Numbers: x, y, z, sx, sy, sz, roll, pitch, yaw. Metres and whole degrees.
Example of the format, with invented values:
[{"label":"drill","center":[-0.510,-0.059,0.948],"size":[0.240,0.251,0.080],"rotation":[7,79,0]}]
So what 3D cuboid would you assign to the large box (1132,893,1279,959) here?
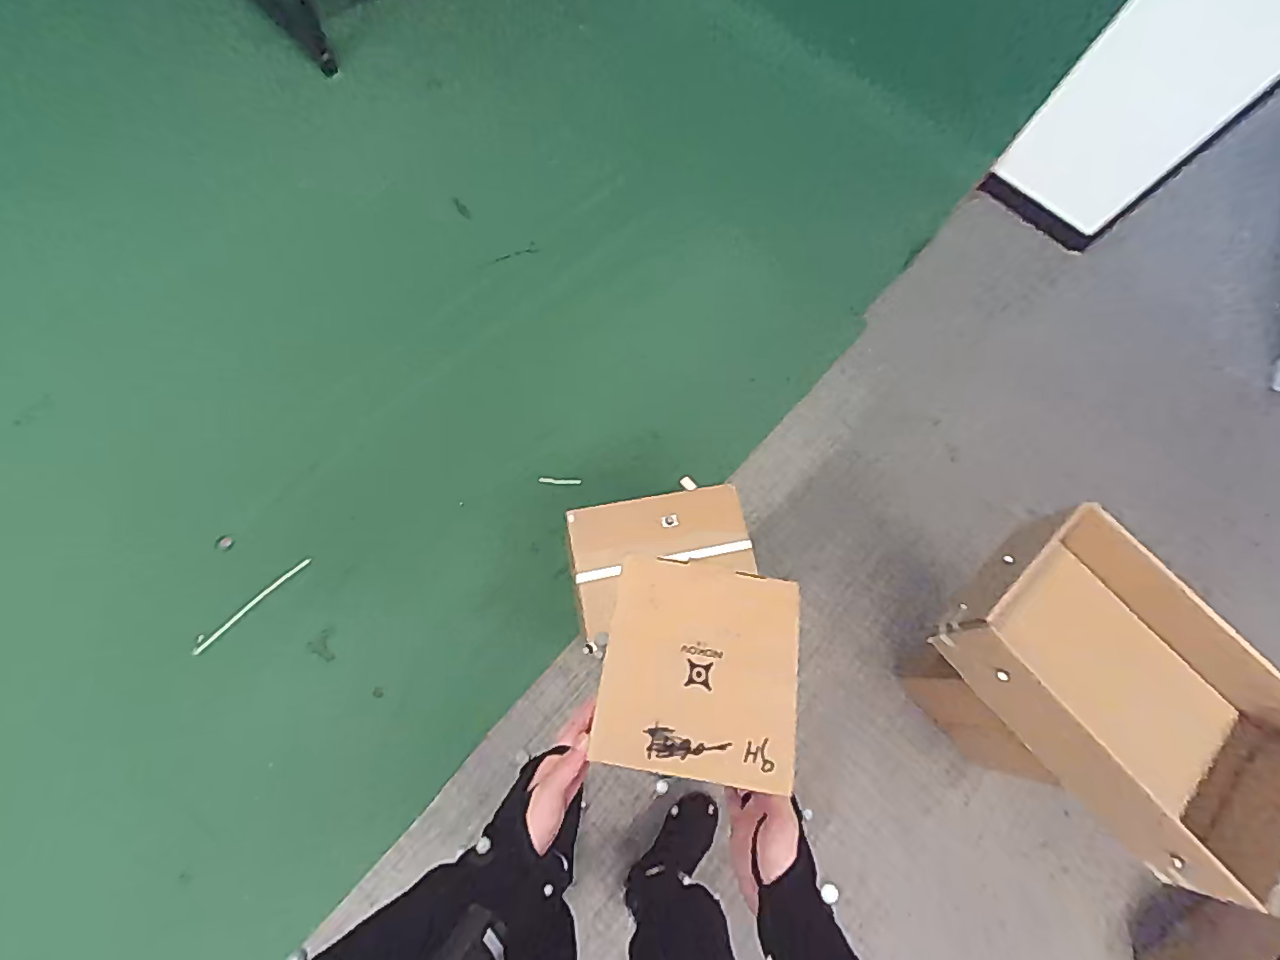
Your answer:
[{"label":"large box","center":[1.443,1.245,1.180],"size":[0.320,0.320,0.408],"rotation":[-21,74,-15]}]

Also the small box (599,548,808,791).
[{"label":"small box","center":[0.054,0.188,0.531],"size":[0.168,0.176,0.179],"rotation":[10,64,0]}]
